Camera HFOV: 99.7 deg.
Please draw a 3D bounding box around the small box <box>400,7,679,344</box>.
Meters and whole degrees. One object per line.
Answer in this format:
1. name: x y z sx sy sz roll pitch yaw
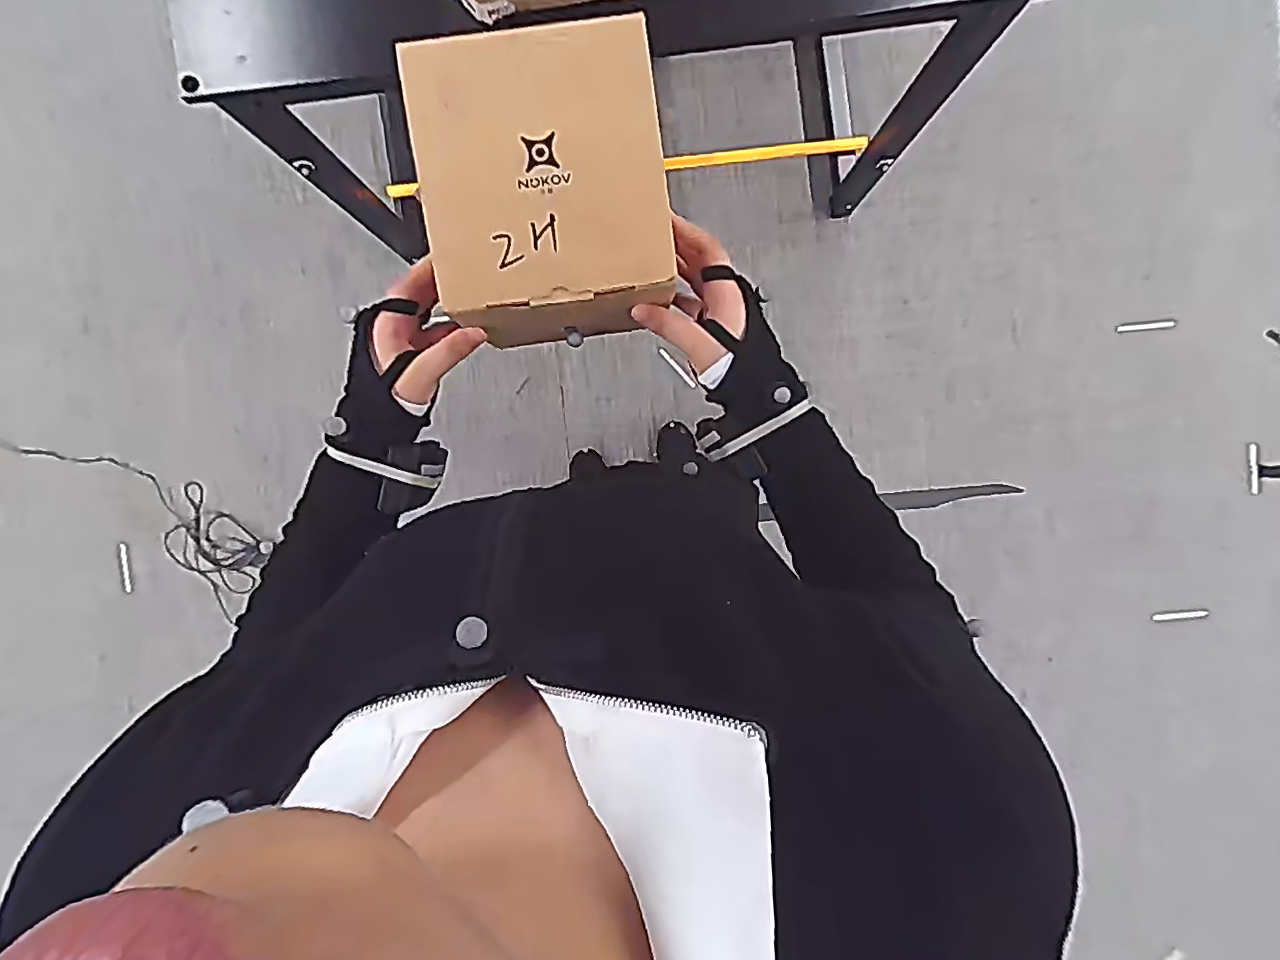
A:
1. small box: -0.067 -0.219 0.436 0.168 0.176 0.179 -8 95 -1
